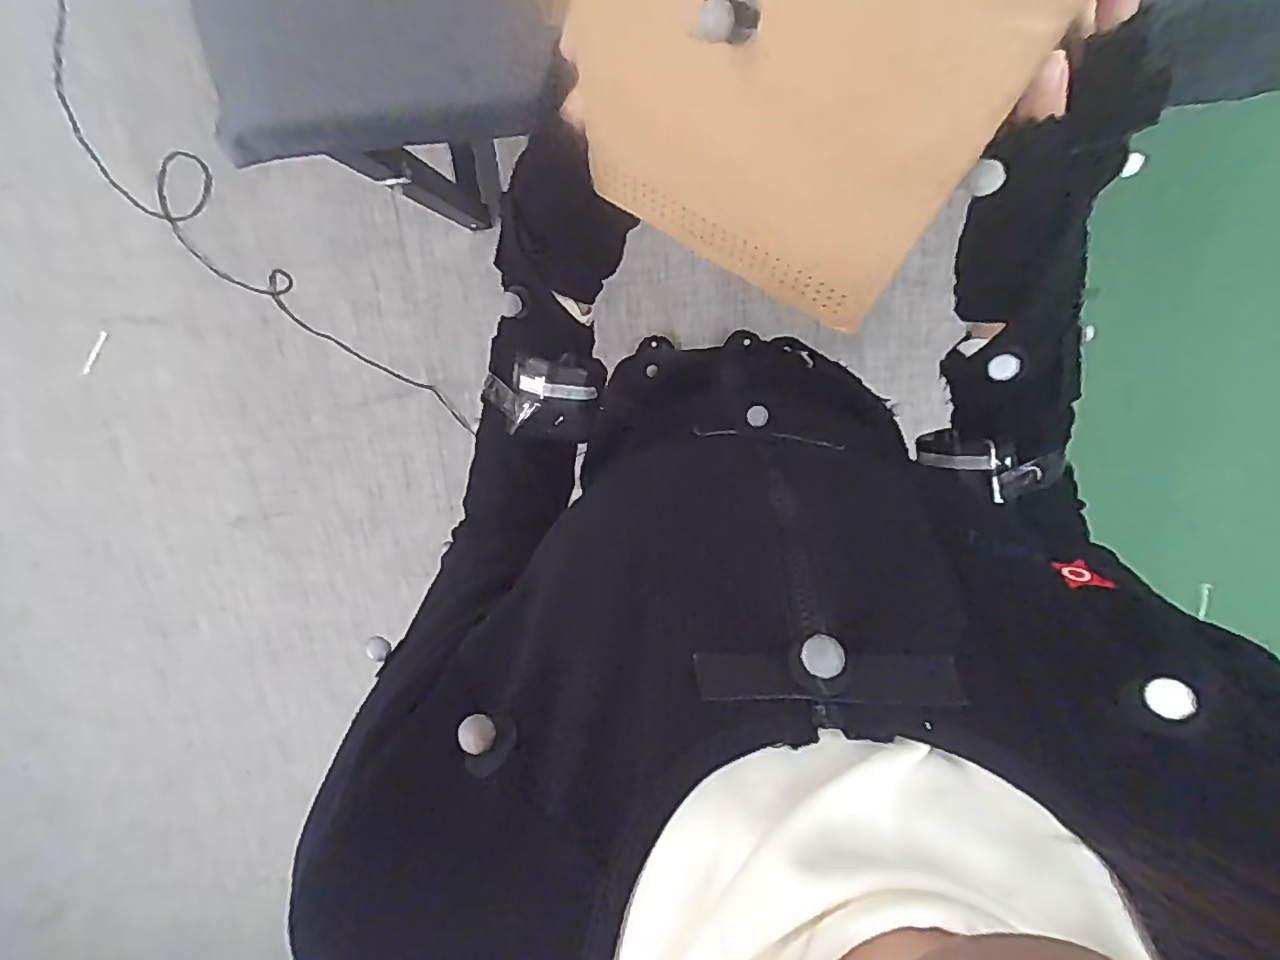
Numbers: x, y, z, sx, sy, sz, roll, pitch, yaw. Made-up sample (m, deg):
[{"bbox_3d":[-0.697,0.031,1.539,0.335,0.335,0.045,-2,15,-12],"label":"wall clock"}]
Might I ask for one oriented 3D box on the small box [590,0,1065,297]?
[{"bbox_3d":[0.087,-0.220,0.248,0.179,0.176,0.168,34,76,10],"label":"small box"}]
